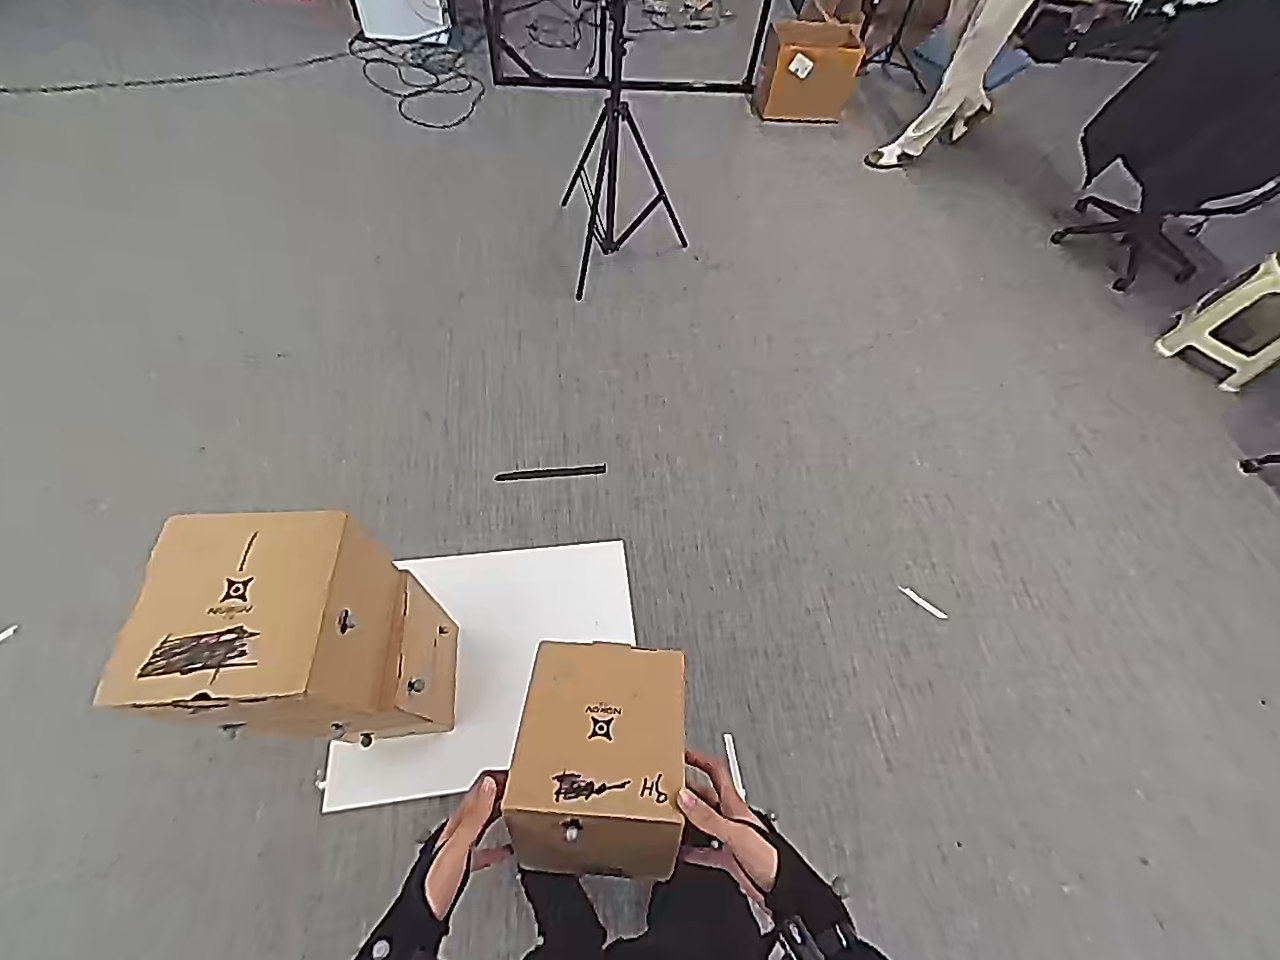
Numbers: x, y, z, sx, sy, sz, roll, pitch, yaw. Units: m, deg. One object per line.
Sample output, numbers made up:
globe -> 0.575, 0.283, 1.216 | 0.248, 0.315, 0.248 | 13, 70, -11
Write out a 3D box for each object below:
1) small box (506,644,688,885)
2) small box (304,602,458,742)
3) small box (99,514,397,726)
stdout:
small box -> -0.038, 0.307, 0.592 | 0.168, 0.176, 0.179 | 3, 39, 1
small box -> -0.385, 0.303, 0.840 | 0.168, 0.176, 0.179 | -3, 61, -8
small box -> -0.364, 0.149, 0.549 | 0.168, 0.176, 0.179 | -1, 60, -6
